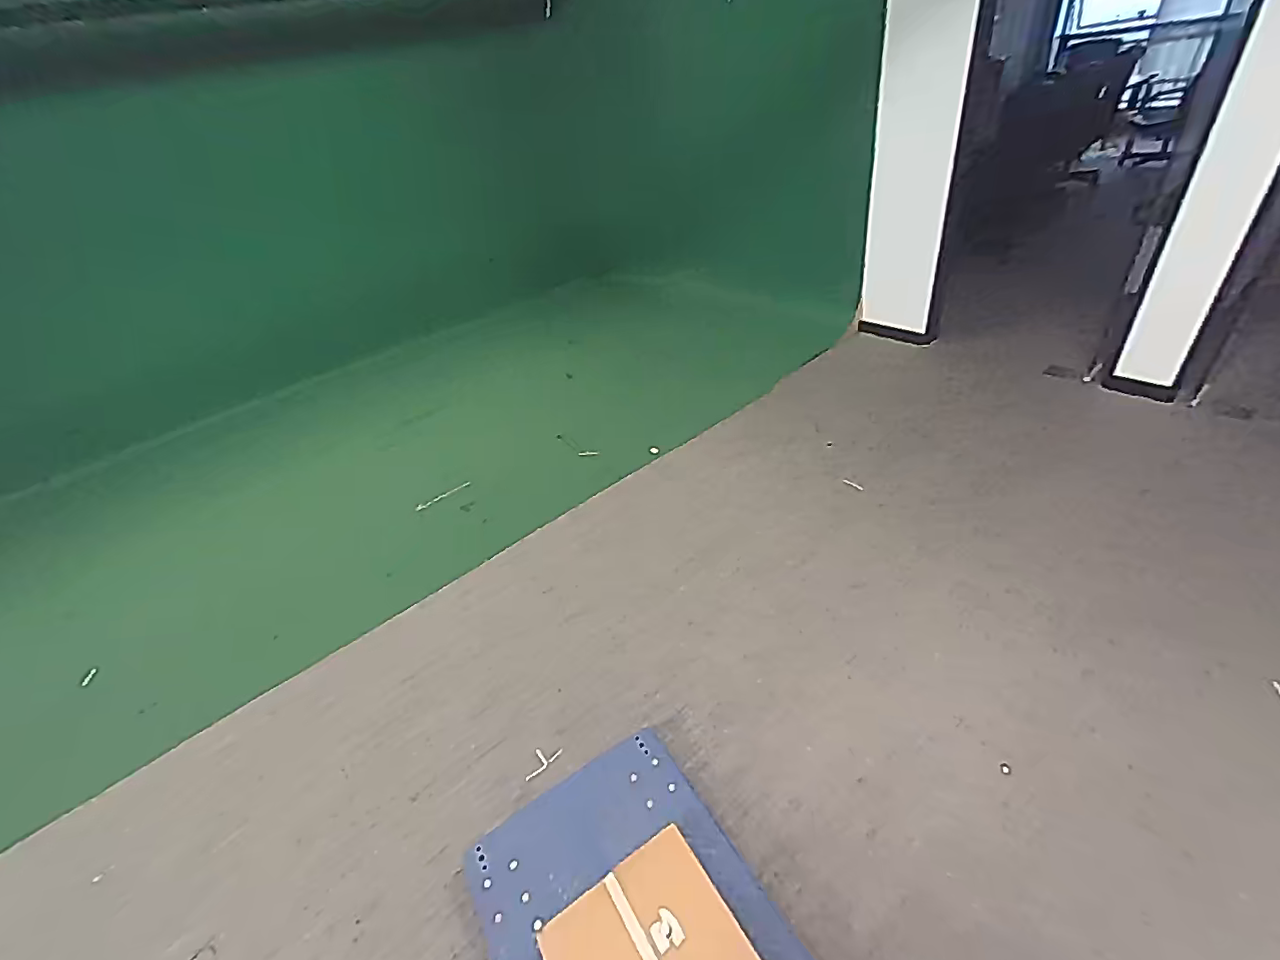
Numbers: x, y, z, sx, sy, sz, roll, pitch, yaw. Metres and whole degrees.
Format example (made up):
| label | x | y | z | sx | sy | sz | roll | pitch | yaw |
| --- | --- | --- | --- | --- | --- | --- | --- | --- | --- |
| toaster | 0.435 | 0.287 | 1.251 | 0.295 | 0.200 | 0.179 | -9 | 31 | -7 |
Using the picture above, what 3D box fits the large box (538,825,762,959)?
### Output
| label | x | y | z | sx | sy | sz | roll | pitch | yaw |
| --- | --- | --- | --- | --- | --- | --- | --- | --- | --- |
| large box | 0.069 | 0.963 | 0.988 | 0.320 | 0.320 | 0.408 | -27 | 39 | -20 |
